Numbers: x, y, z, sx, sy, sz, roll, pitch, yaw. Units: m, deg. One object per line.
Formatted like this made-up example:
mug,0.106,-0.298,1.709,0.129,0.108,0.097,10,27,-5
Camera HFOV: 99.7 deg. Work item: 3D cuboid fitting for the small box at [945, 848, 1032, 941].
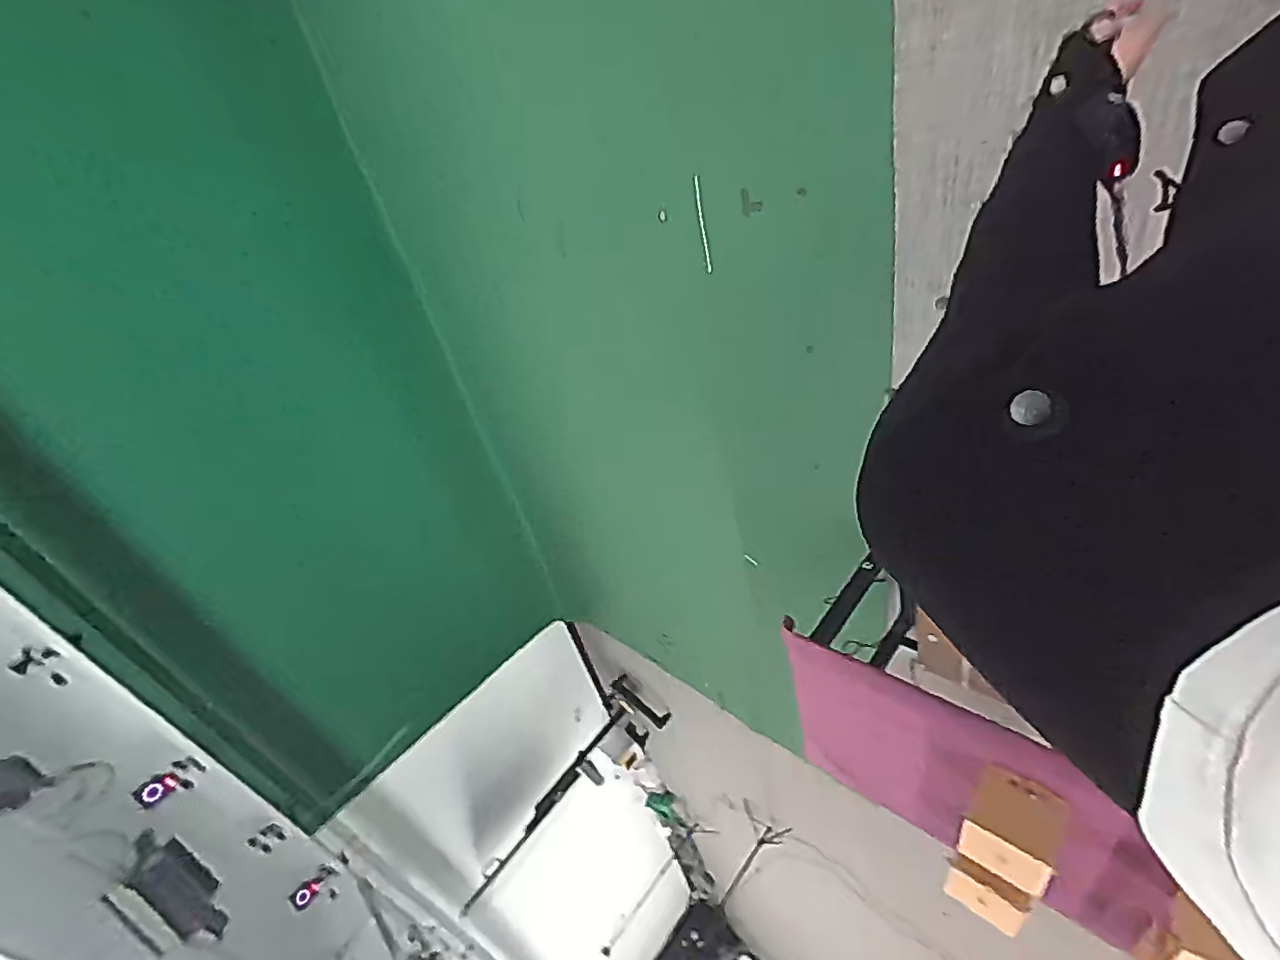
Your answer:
small box,0.924,1.032,1.413,0.168,0.176,0.179,20,136,41

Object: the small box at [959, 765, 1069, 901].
small box,0.867,0.813,1.257,0.168,0.176,0.179,18,137,41

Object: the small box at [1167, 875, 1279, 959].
small box,1.121,0.896,1.012,0.168,0.176,0.179,17,137,43
